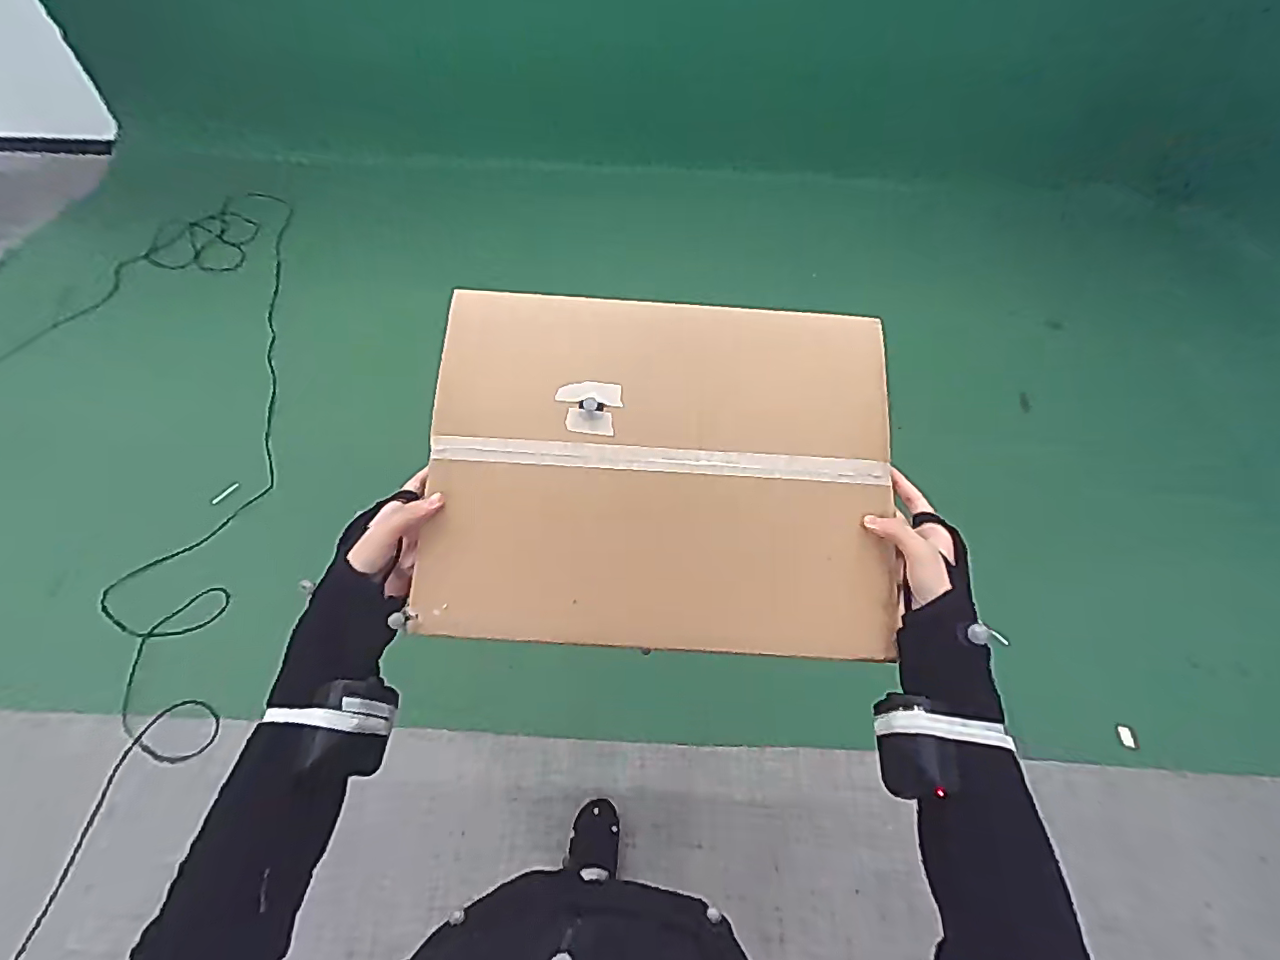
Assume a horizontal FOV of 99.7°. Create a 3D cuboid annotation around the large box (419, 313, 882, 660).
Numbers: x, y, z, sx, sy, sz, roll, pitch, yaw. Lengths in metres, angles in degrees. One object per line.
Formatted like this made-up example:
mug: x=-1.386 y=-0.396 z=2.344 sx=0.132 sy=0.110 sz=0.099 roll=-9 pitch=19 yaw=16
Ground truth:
large box: x=0.016 y=0.026 z=0.636 sx=0.408 sy=0.320 sz=0.320 roll=3 pitch=76 yaw=1
